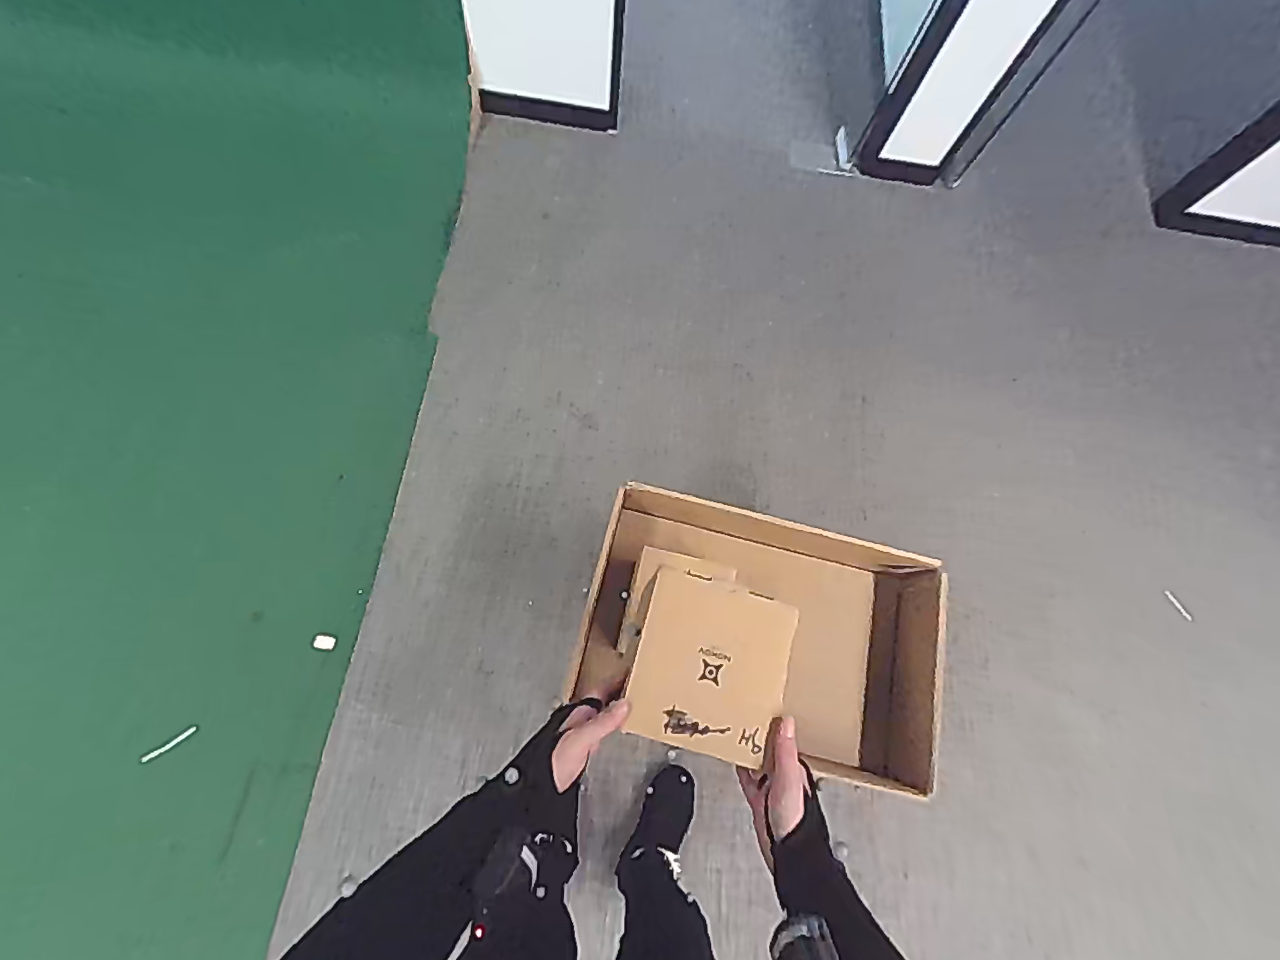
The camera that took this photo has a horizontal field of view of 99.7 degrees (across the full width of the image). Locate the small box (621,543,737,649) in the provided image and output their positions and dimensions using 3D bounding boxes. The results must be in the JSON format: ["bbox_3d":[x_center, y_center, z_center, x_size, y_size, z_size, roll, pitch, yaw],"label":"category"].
[{"bbox_3d":[0.063,0.229,0.964,0.168,0.176,0.179,13,71,0],"label":"small box"}]

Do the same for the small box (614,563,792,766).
[{"bbox_3d":[0.067,0.220,0.657,0.168,0.176,0.179,16,70,1],"label":"small box"}]
